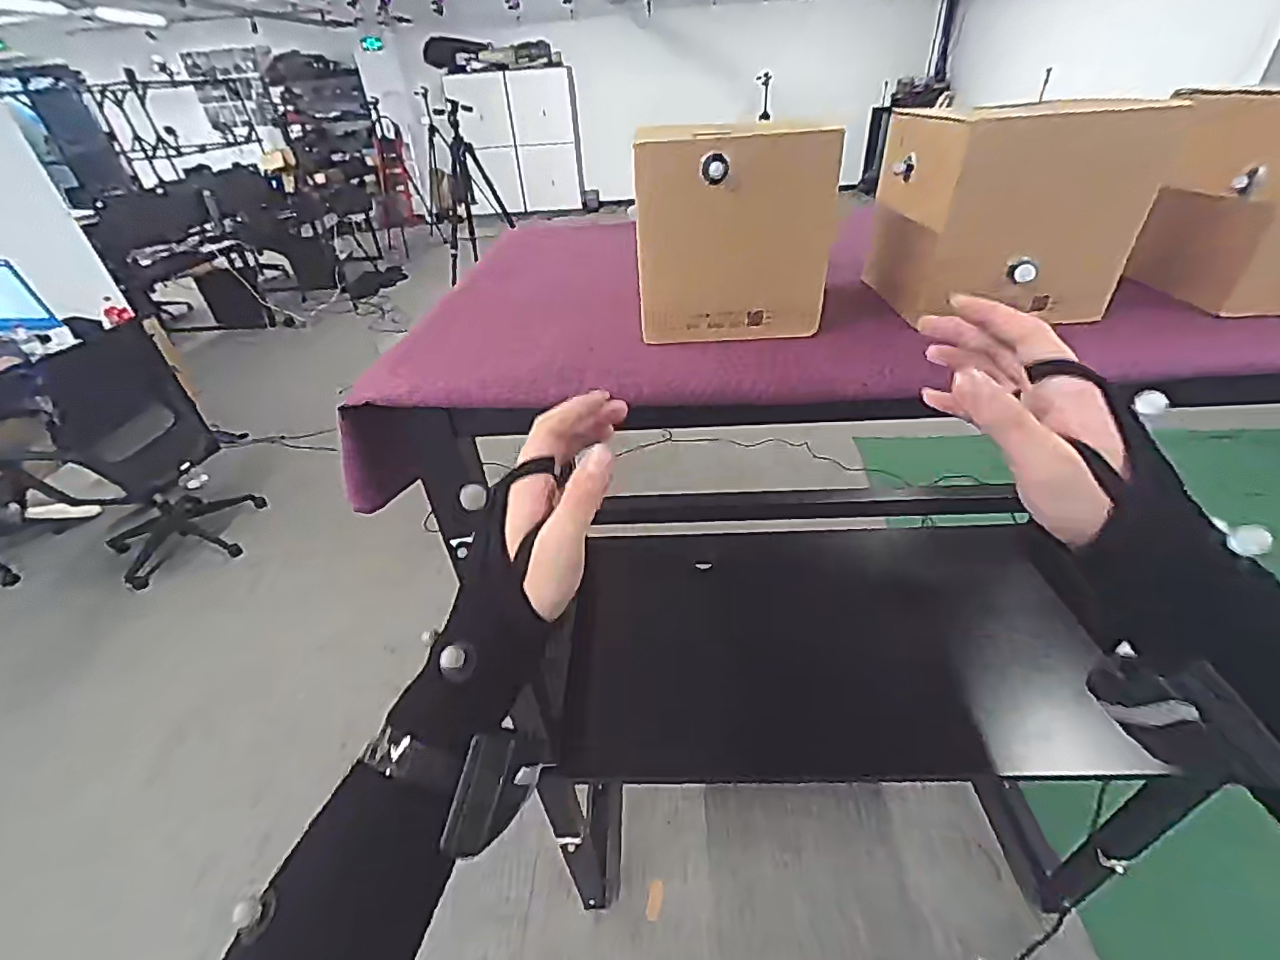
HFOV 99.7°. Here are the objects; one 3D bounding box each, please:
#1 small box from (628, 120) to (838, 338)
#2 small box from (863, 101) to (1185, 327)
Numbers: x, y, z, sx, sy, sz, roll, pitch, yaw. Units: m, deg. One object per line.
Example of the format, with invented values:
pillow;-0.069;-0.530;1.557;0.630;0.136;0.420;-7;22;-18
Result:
small box;0.078;-0.248;0.531;0.168;0.176;0.179;-2;34;3
small box;0.331;-0.256;0.519;0.168;0.176;0.179;-2;36;4
